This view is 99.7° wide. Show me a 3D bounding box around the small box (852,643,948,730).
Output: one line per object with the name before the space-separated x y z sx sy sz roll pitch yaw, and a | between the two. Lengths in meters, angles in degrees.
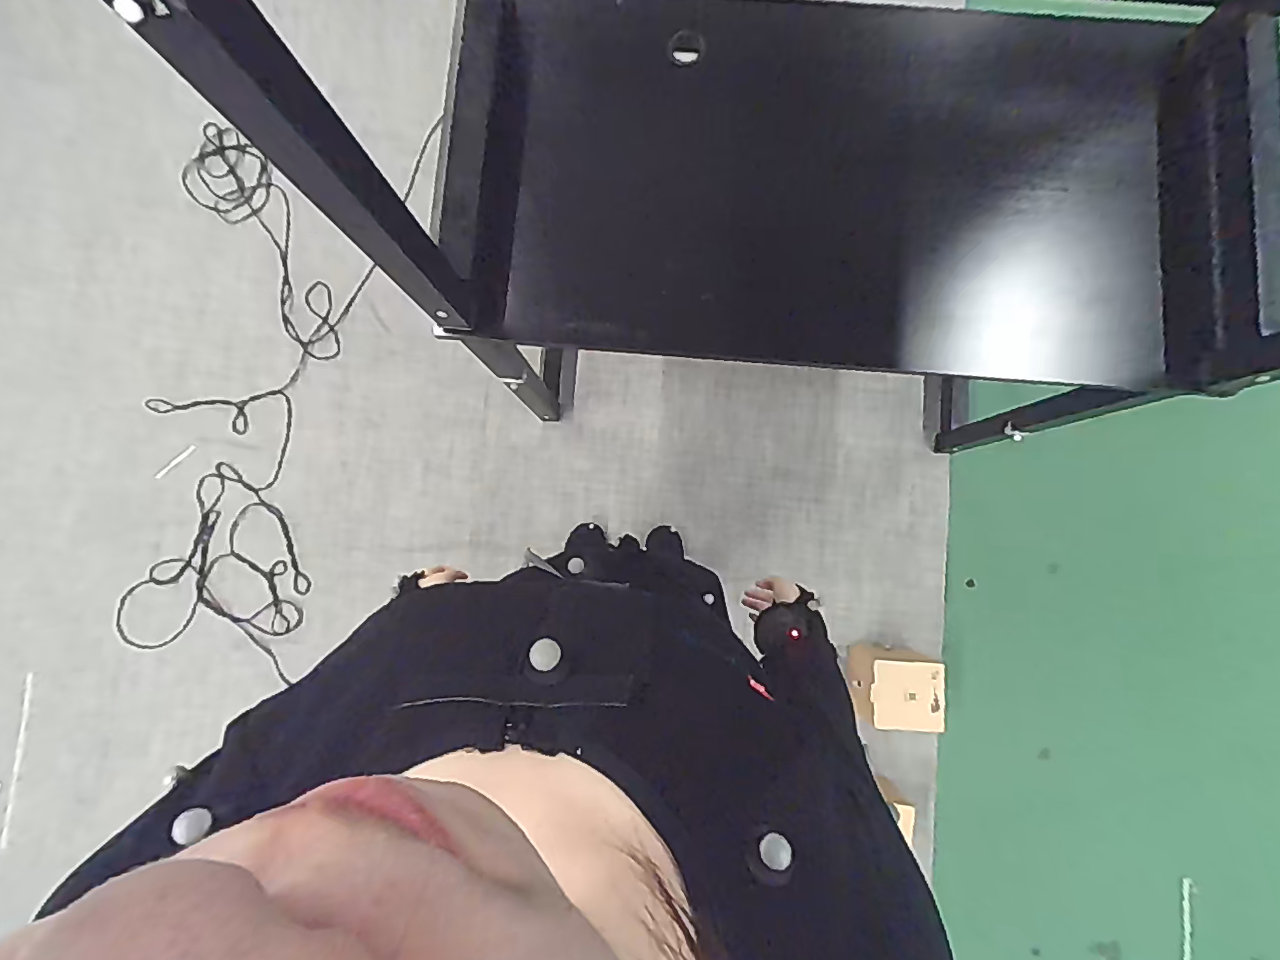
small box | 0.657 0.520 1.385 0.179 0.176 0.168 3 85 2
